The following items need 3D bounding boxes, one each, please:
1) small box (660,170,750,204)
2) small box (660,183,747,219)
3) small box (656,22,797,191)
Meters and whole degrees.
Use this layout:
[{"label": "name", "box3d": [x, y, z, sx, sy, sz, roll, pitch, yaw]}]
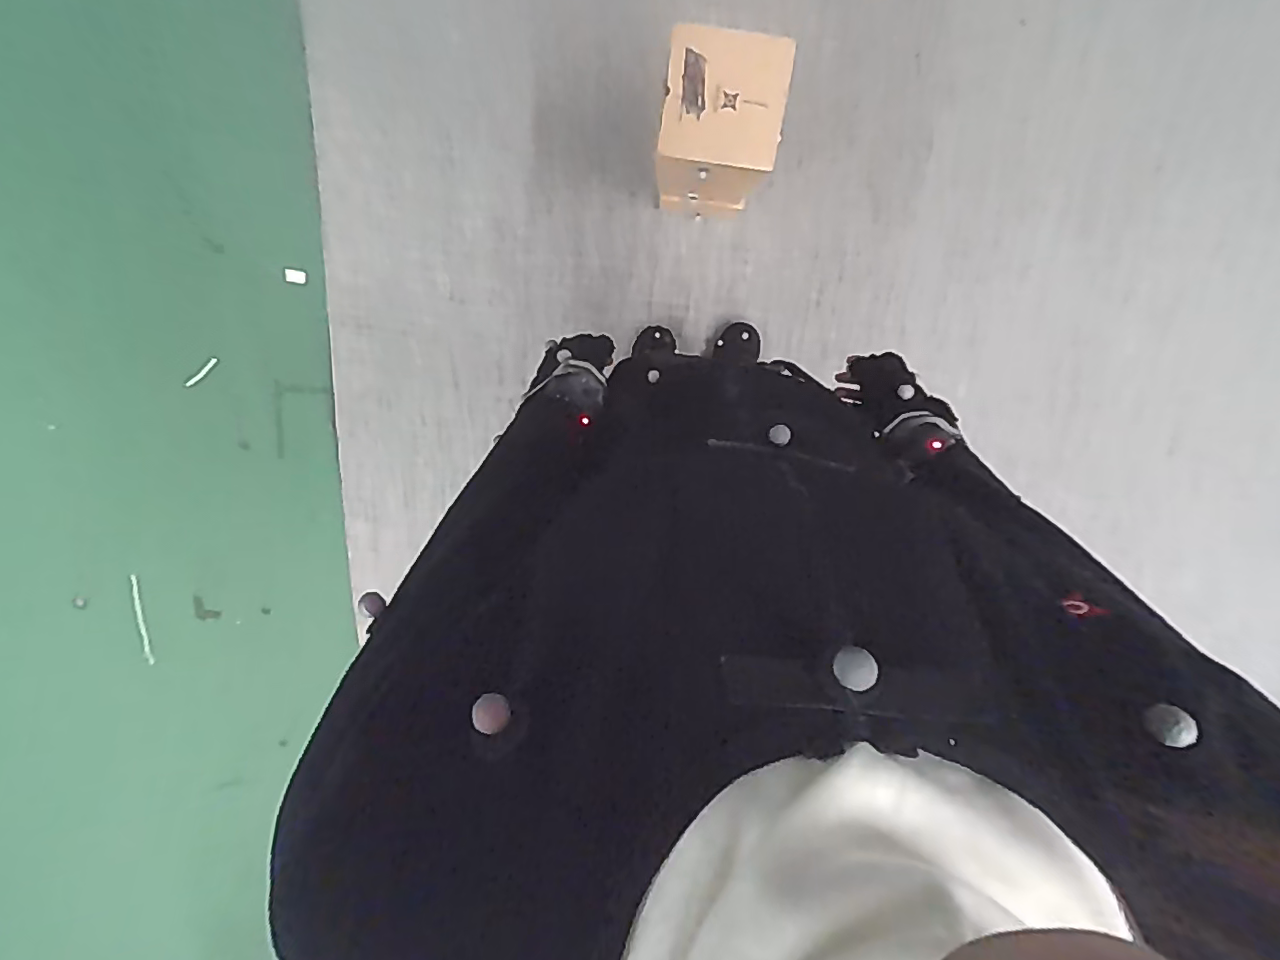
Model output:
[{"label": "small box", "box3d": [0.129, -0.629, 1.001, 0.168, 0.176, 0.179, 7, 109, 2]}, {"label": "small box", "box3d": [0.141, -0.668, 1.159, 0.179, 0.176, 0.168, 7, 108, -1]}, {"label": "small box", "box3d": [0.125, -0.569, 0.847, 0.179, 0.176, 0.168, 9, 108, 0]}]
